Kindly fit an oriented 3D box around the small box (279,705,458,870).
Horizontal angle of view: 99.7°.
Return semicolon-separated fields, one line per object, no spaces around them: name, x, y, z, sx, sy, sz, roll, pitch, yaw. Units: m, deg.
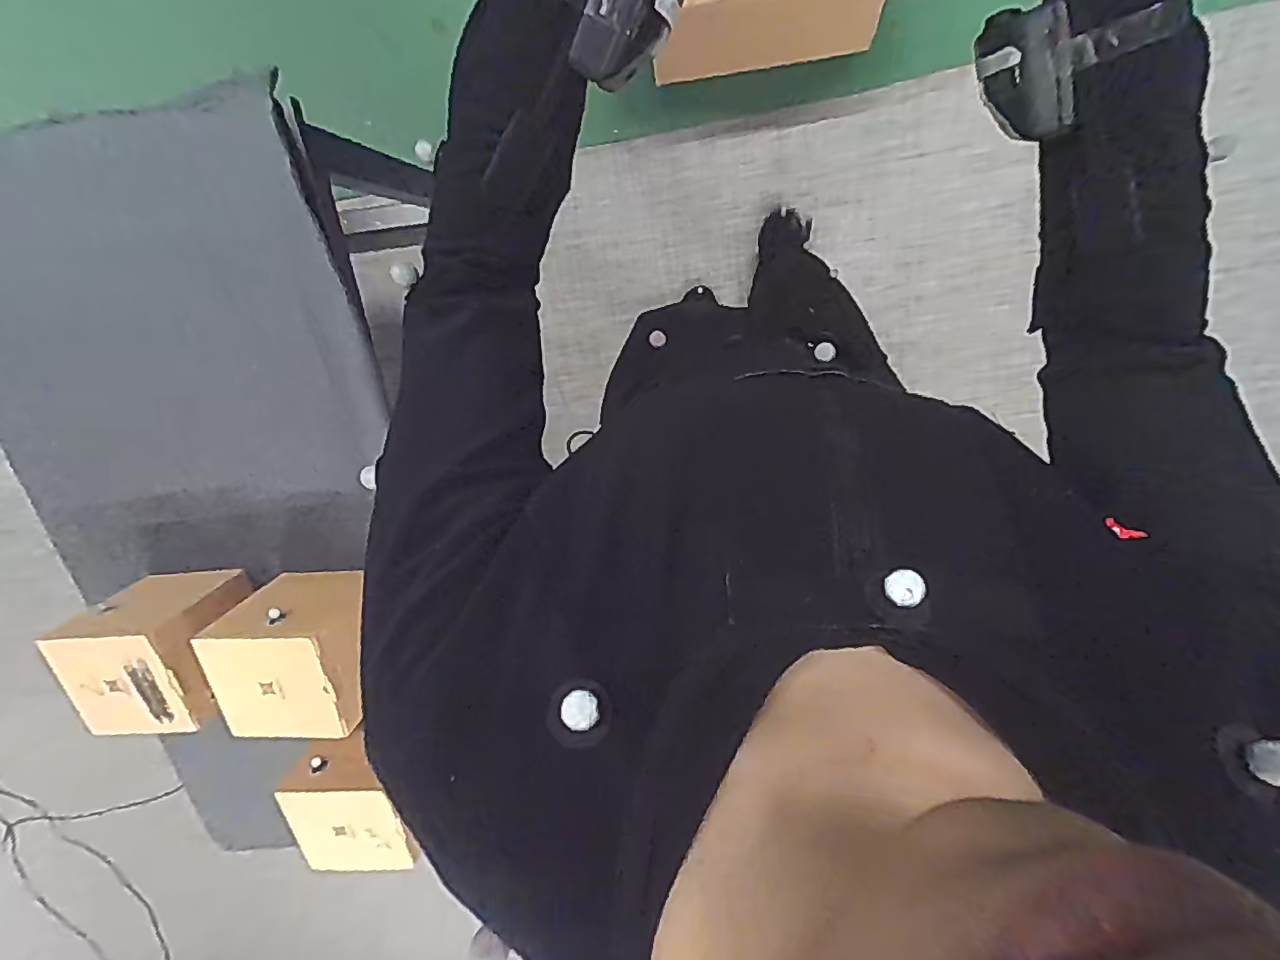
small box;-0.423;0.486;0.871;0.179;0.176;0.168;-5;110;7
